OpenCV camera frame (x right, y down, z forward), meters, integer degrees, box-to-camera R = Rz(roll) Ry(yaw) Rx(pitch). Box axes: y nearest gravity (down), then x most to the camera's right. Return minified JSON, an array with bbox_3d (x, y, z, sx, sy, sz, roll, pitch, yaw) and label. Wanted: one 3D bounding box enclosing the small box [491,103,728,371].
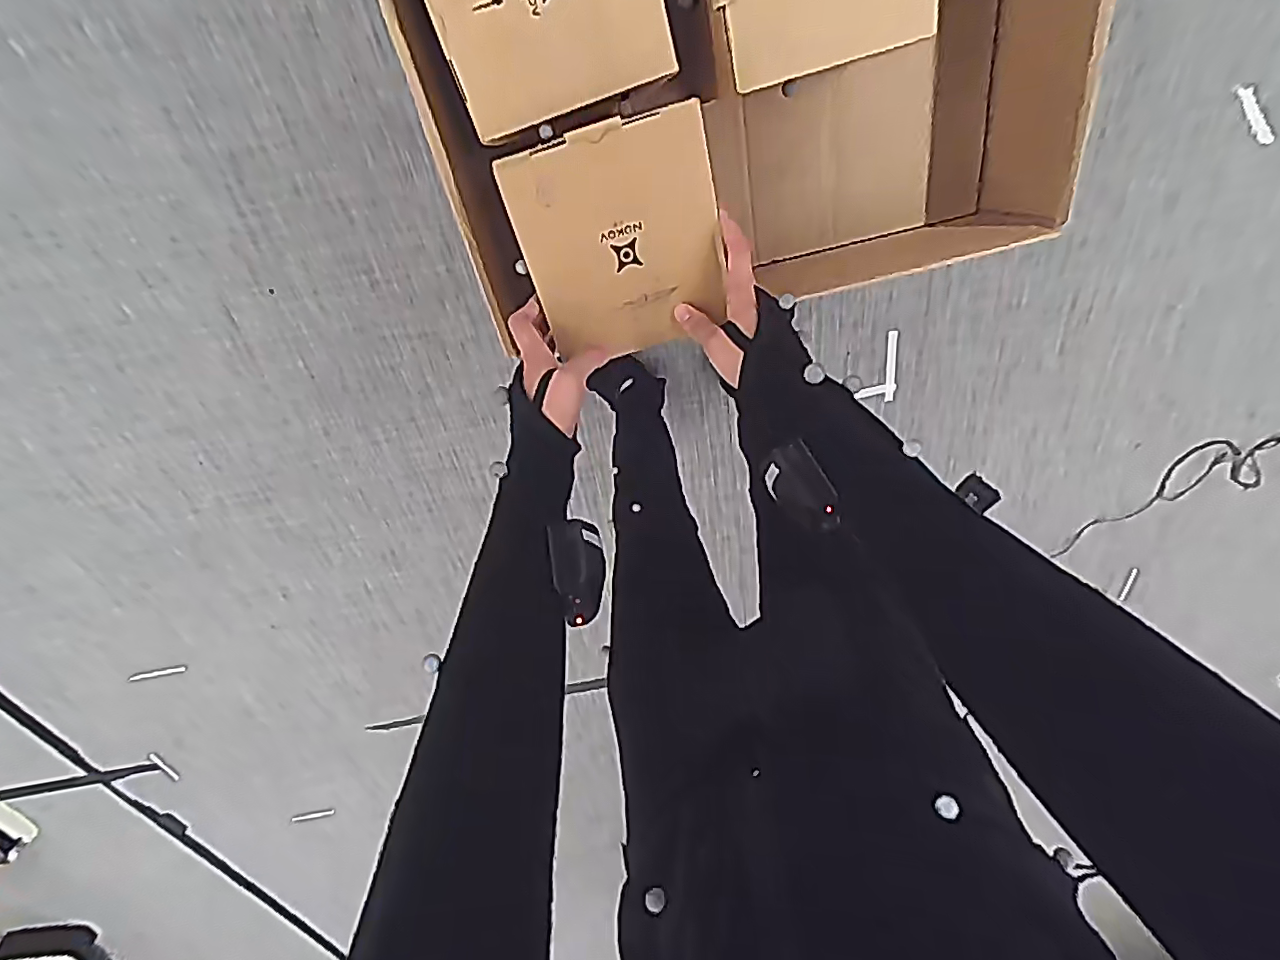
[{"bbox_3d":[-0.029,-0.233,0.517,0.168,0.176,0.179,-16,125,2],"label":"small box"}]
